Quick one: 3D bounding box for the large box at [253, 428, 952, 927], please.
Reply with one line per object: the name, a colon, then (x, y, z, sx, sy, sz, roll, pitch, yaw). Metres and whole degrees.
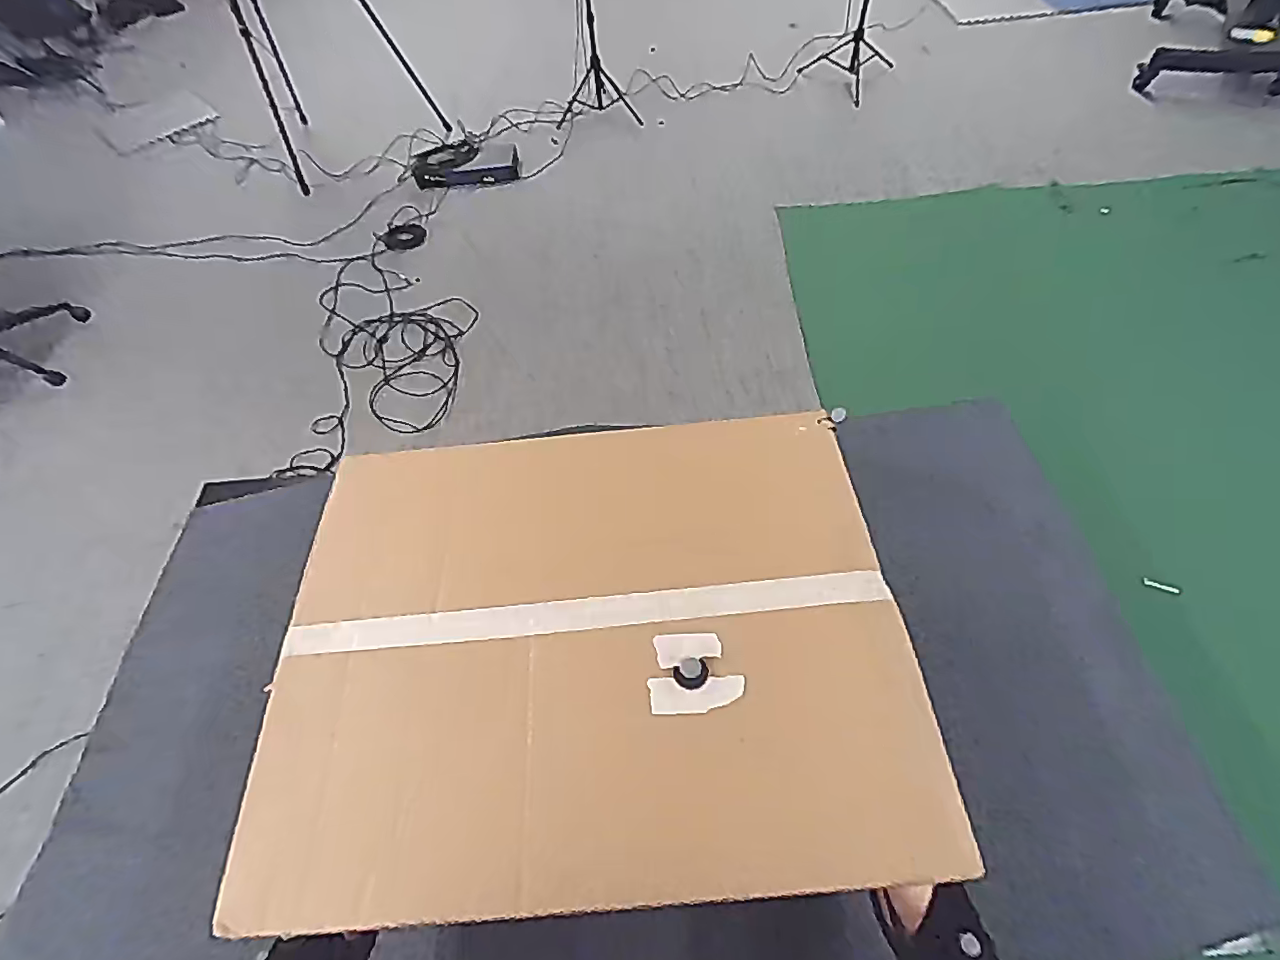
large box: (-0.025, 0.183, 0.506, 0.408, 0.320, 0.320, -5, 57, 0)
